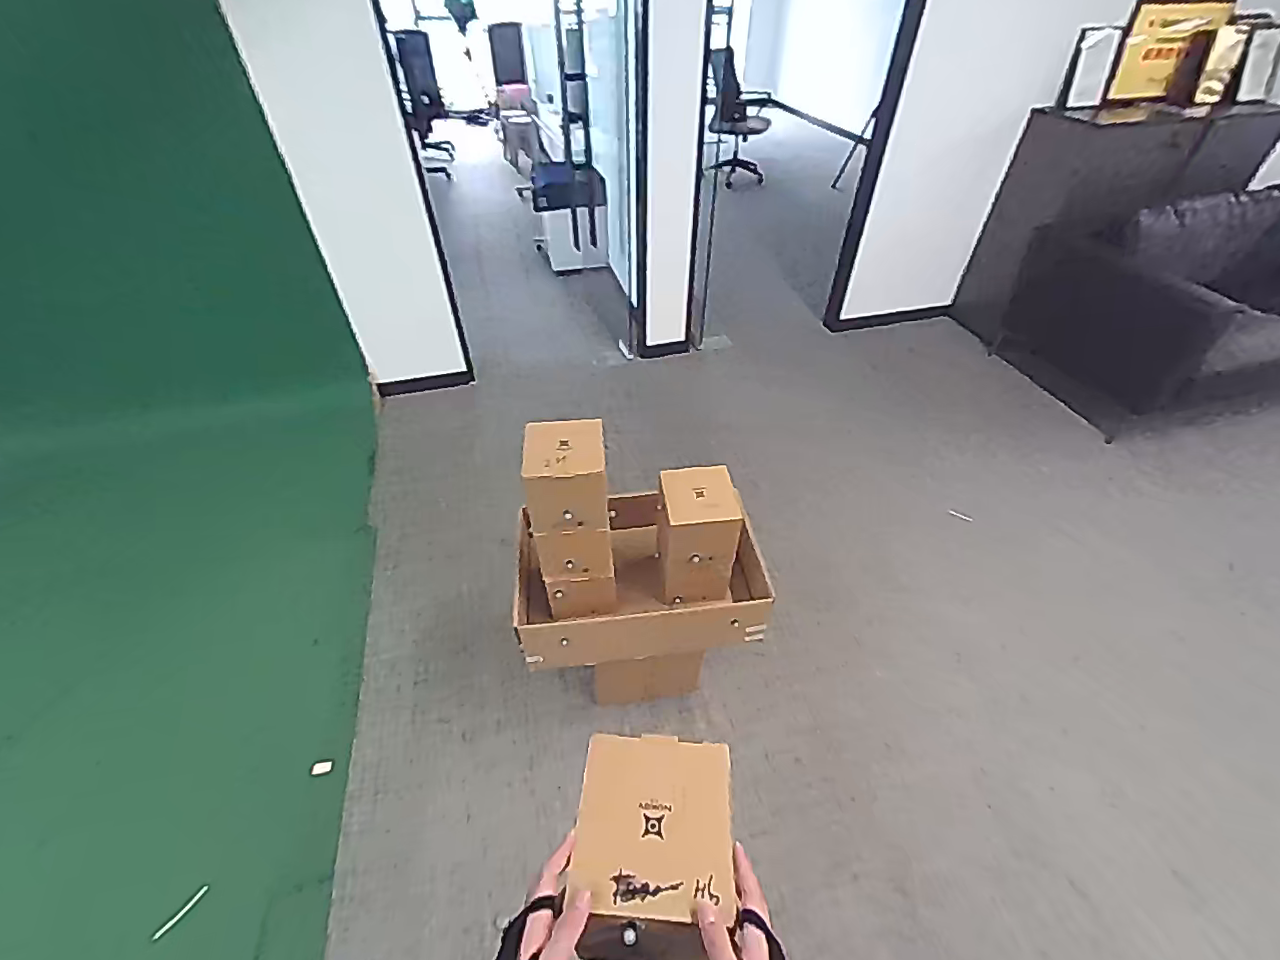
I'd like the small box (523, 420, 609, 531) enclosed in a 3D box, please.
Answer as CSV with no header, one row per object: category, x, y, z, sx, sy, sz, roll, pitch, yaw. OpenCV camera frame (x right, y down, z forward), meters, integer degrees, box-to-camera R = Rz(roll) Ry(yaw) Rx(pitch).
small box,-0.153,-0.010,1.171,0.168,0.176,0.179,-3,44,-3

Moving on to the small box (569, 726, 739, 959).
small box,0.021,0.416,0.622,0.168,0.176,0.179,3,37,5

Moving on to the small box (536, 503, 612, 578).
small box,-0.153,0.111,1.283,0.168,0.176,0.179,-4,44,-4

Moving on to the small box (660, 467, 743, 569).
small box,0.139,0.091,1.303,0.168,0.176,0.179,-4,45,-4

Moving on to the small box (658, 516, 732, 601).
small box,0.138,0.205,1.420,0.168,0.176,0.179,-4,44,-4
